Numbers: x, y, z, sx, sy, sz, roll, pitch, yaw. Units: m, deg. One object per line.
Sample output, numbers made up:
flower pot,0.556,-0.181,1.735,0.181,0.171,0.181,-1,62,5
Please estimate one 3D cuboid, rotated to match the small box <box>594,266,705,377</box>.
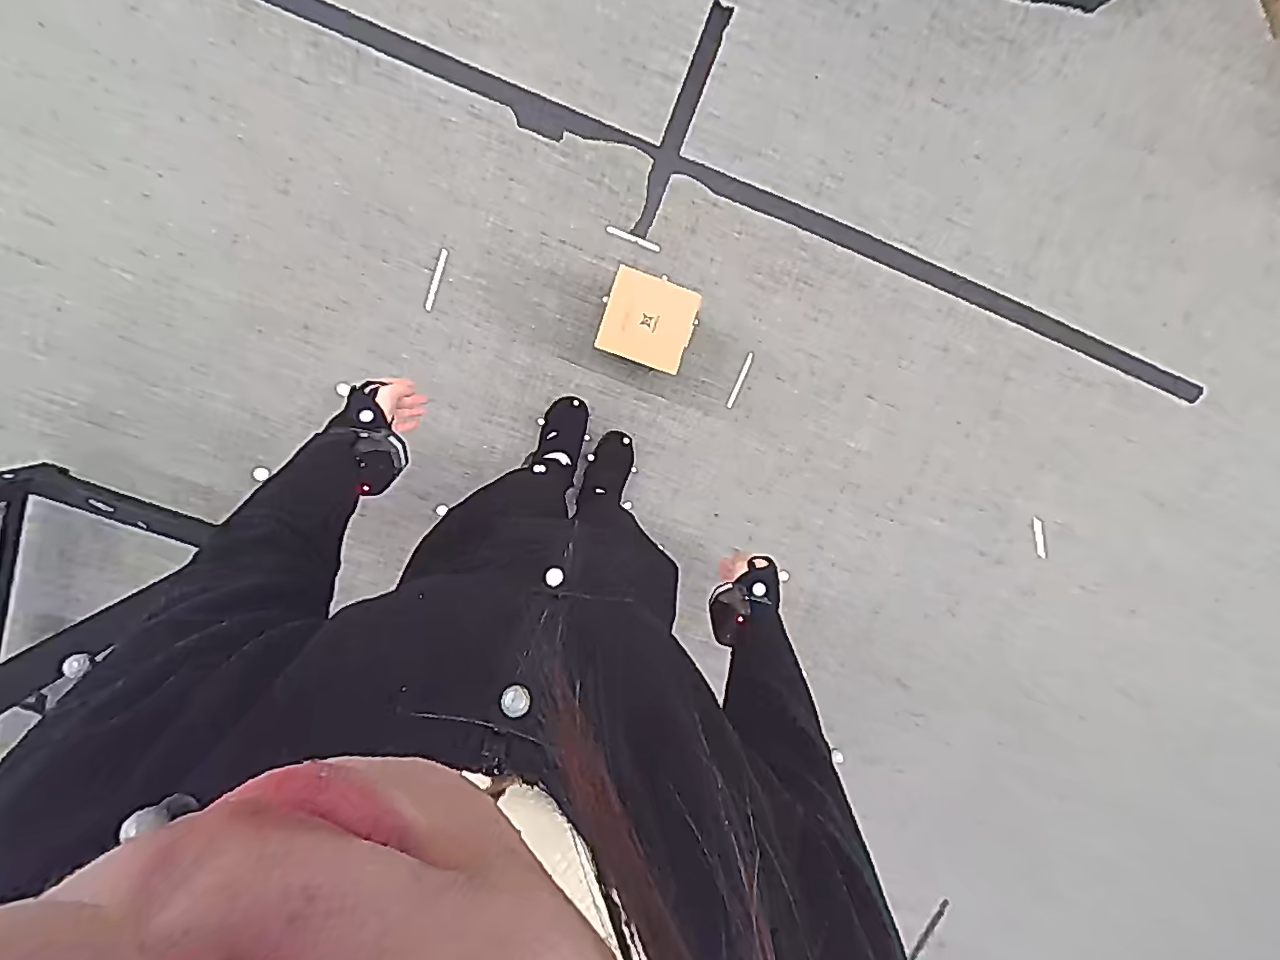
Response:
small box,0.015,-0.326,1.127,0.179,0.176,0.168,19,102,-7
